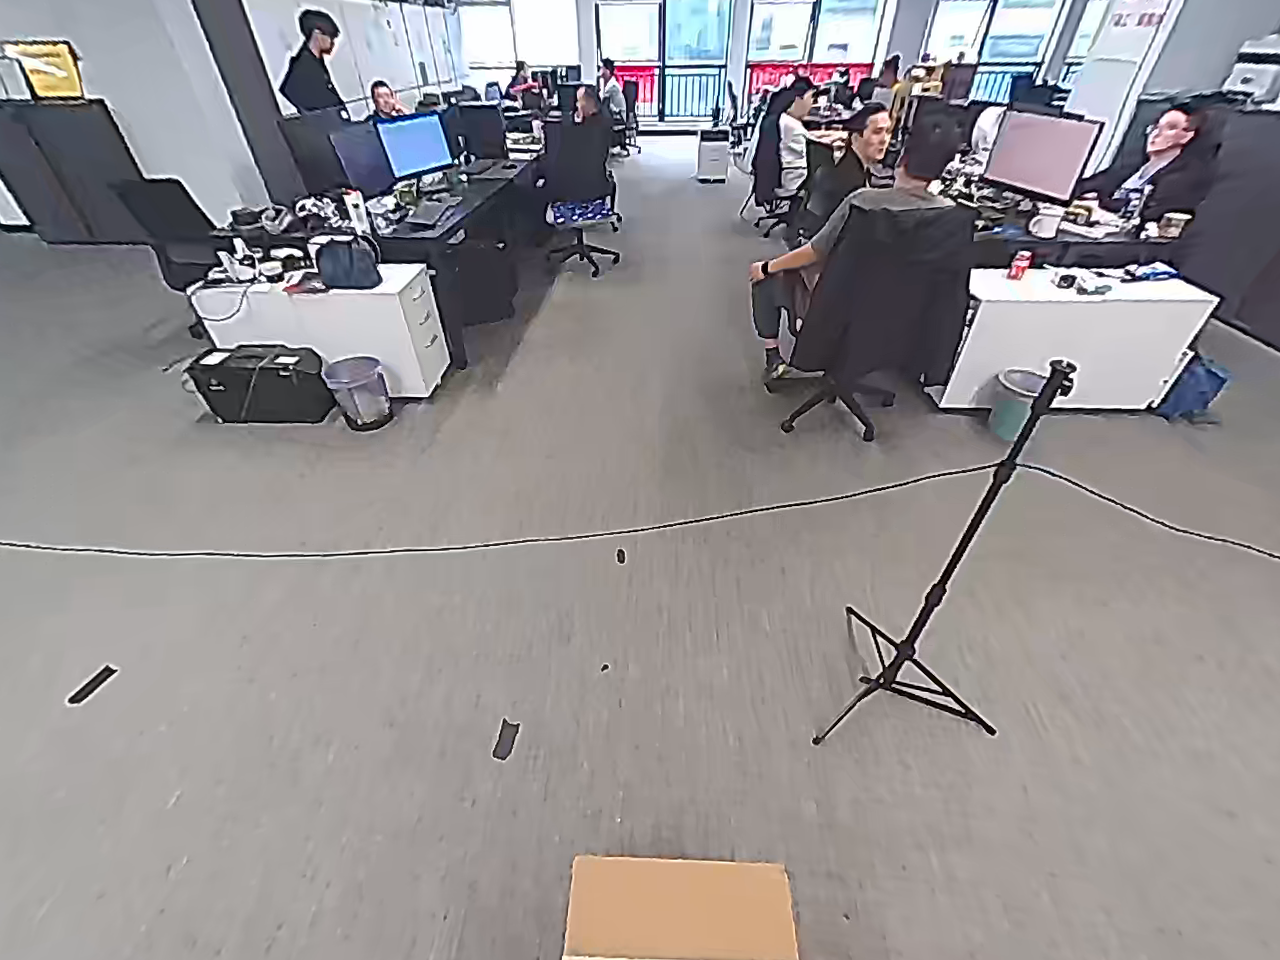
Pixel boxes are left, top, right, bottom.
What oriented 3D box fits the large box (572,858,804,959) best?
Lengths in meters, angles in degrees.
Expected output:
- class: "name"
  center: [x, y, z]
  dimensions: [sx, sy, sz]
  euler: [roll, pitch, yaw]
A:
- class: "large box"
  center: [0.079, 0.940, 1.002]
  dimensions: [0.408, 0.320, 0.320]
  euler: [2, 39, 1]
